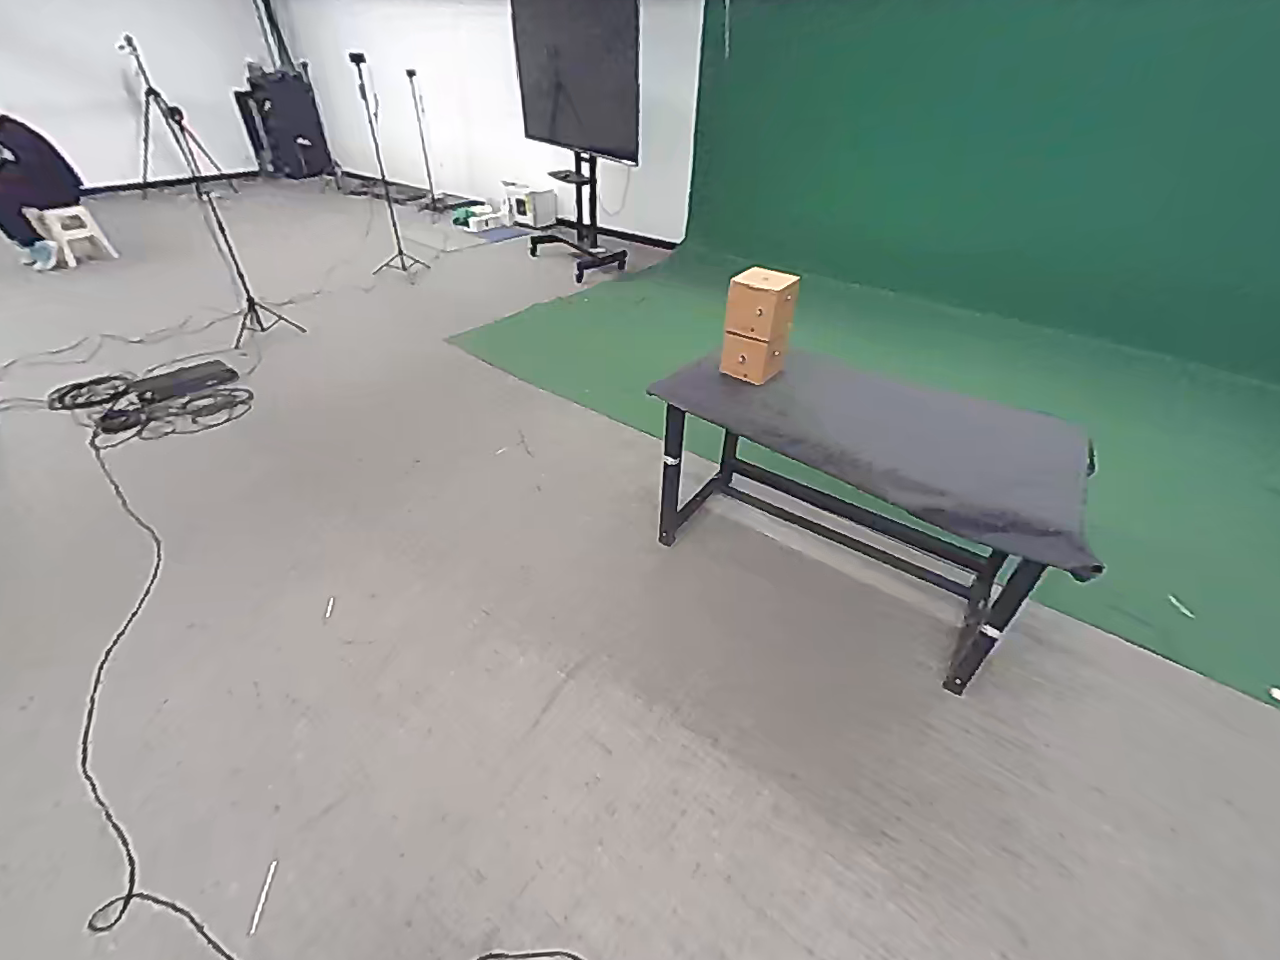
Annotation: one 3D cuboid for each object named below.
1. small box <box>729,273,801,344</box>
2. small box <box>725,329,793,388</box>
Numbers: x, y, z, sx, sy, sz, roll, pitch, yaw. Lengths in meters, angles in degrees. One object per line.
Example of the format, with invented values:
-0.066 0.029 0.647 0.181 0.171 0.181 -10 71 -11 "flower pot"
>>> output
0.408 -0.566 1.787 0.168 0.176 0.179 26 43 26 "small box"
0.411 -0.444 1.896 0.168 0.176 0.179 27 44 28 "small box"
